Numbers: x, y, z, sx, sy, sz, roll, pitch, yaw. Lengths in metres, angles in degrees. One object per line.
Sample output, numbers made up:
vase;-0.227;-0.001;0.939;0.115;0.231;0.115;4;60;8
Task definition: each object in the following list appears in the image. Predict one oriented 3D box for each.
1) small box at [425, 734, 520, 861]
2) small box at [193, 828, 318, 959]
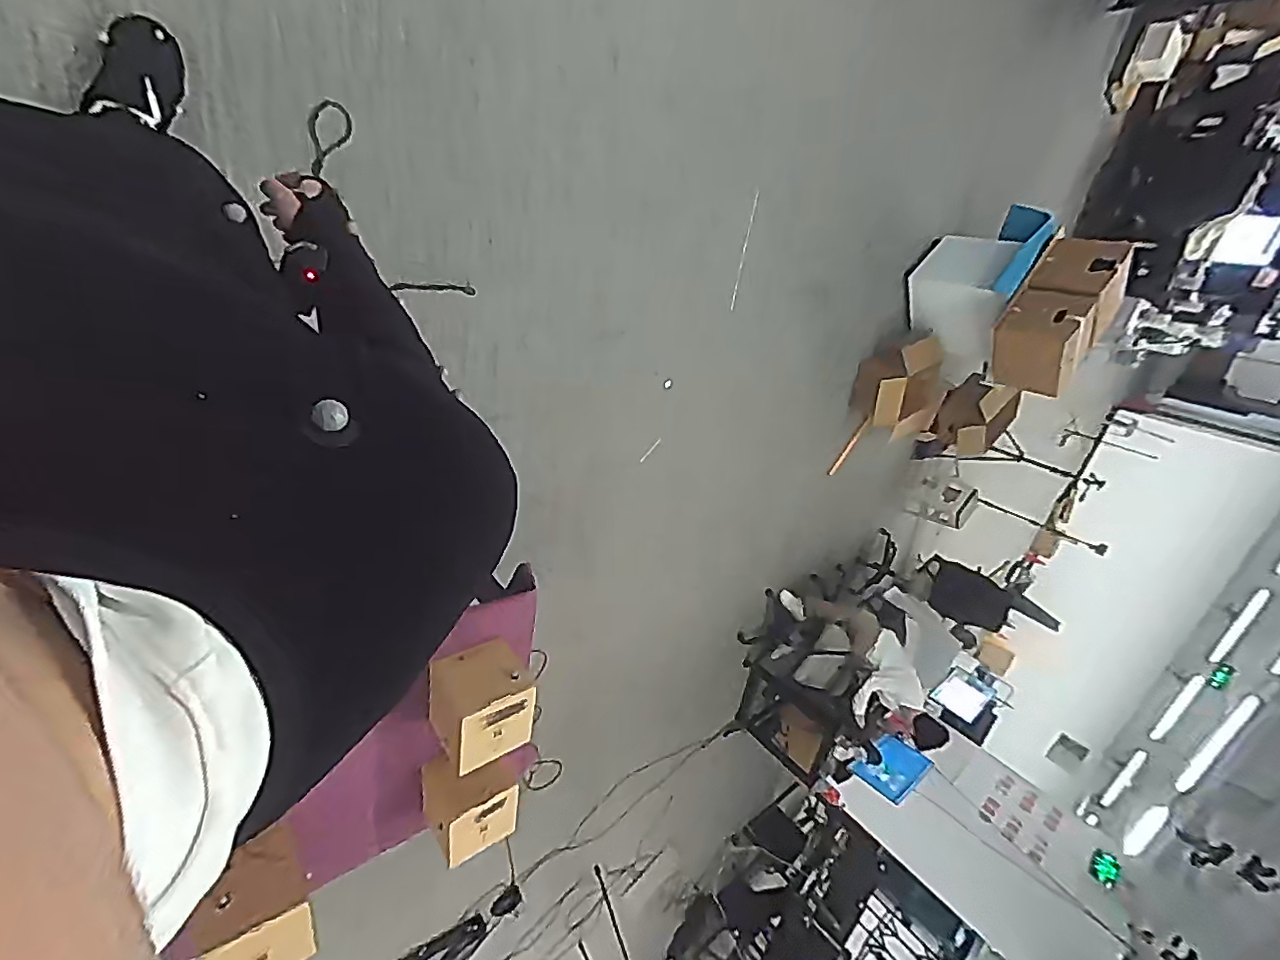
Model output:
small box;-0.403;0.742;1.290;0.168;0.176;0.179;-12;123;-38
small box;-0.730;0.808;1.029;0.168;0.176;0.179;-11;121;-38
